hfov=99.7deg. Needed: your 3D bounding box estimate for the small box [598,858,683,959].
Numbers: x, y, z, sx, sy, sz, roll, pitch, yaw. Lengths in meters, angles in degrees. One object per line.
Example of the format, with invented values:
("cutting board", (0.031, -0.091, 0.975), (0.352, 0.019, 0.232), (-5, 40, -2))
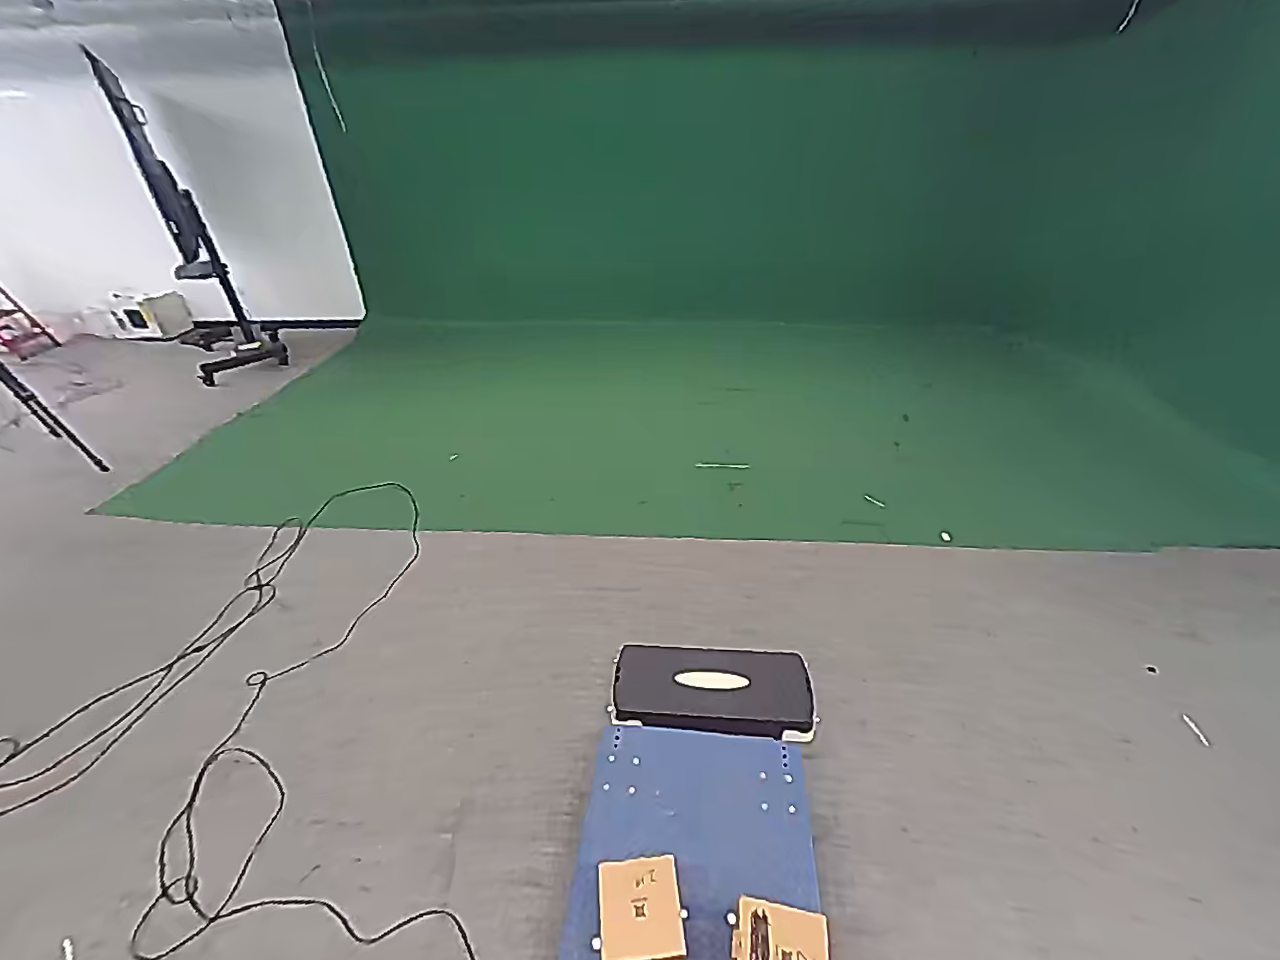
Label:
("small box", (-0.001, 0.940, 1.144), (0.168, 0.176, 0.179), (-3, 34, -4))
